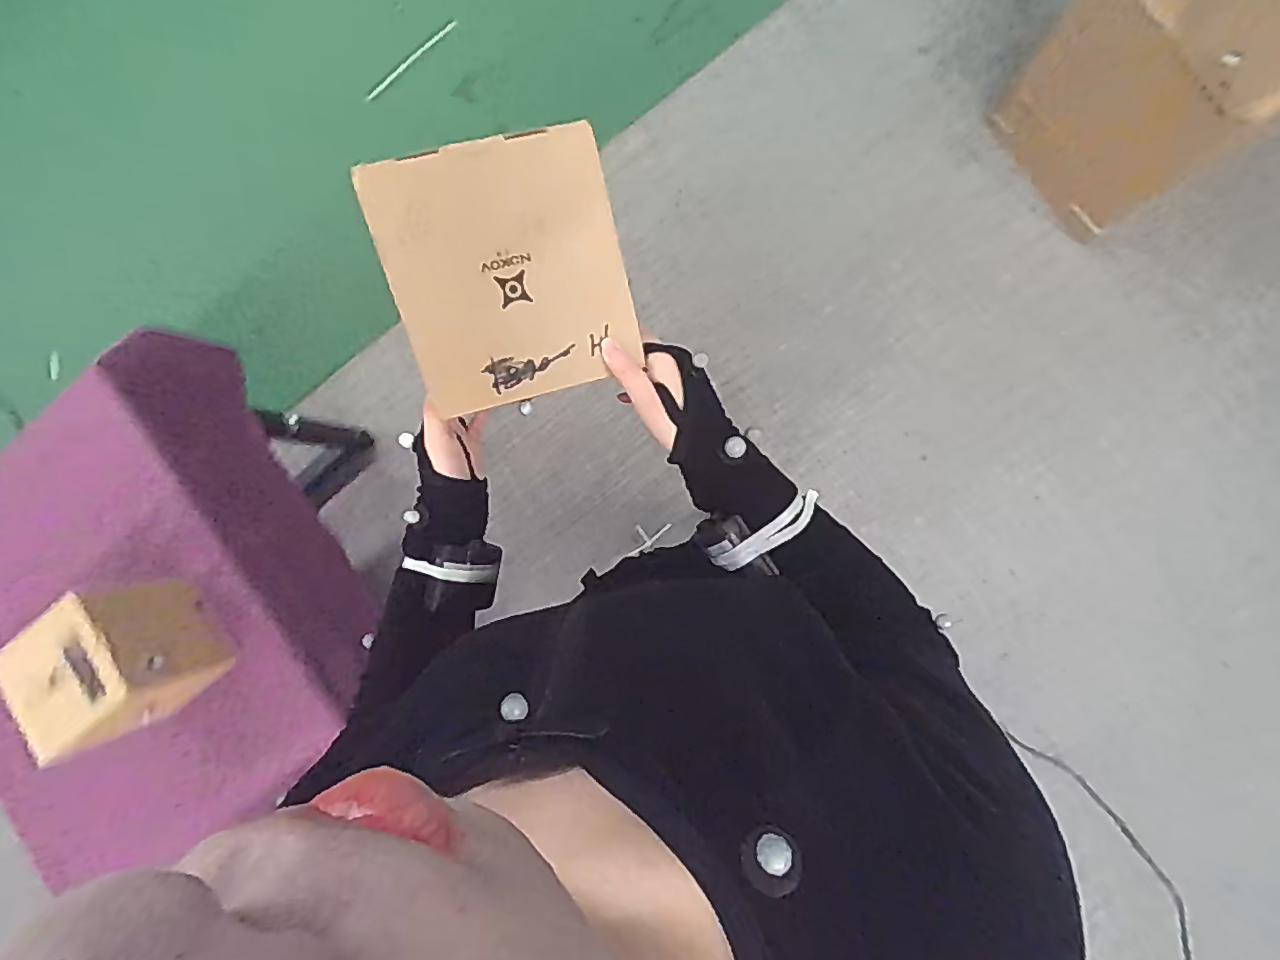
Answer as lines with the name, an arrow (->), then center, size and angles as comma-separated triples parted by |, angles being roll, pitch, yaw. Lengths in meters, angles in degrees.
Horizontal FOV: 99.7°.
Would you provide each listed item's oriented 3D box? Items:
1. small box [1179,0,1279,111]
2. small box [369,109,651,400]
small box -> 1.030, -0.738, 0.843 | 0.179, 0.176, 0.168 | -30, 83, 5
small box -> -0.100, -0.177, 0.466 | 0.168, 0.176, 0.179 | -15, 107, -6
